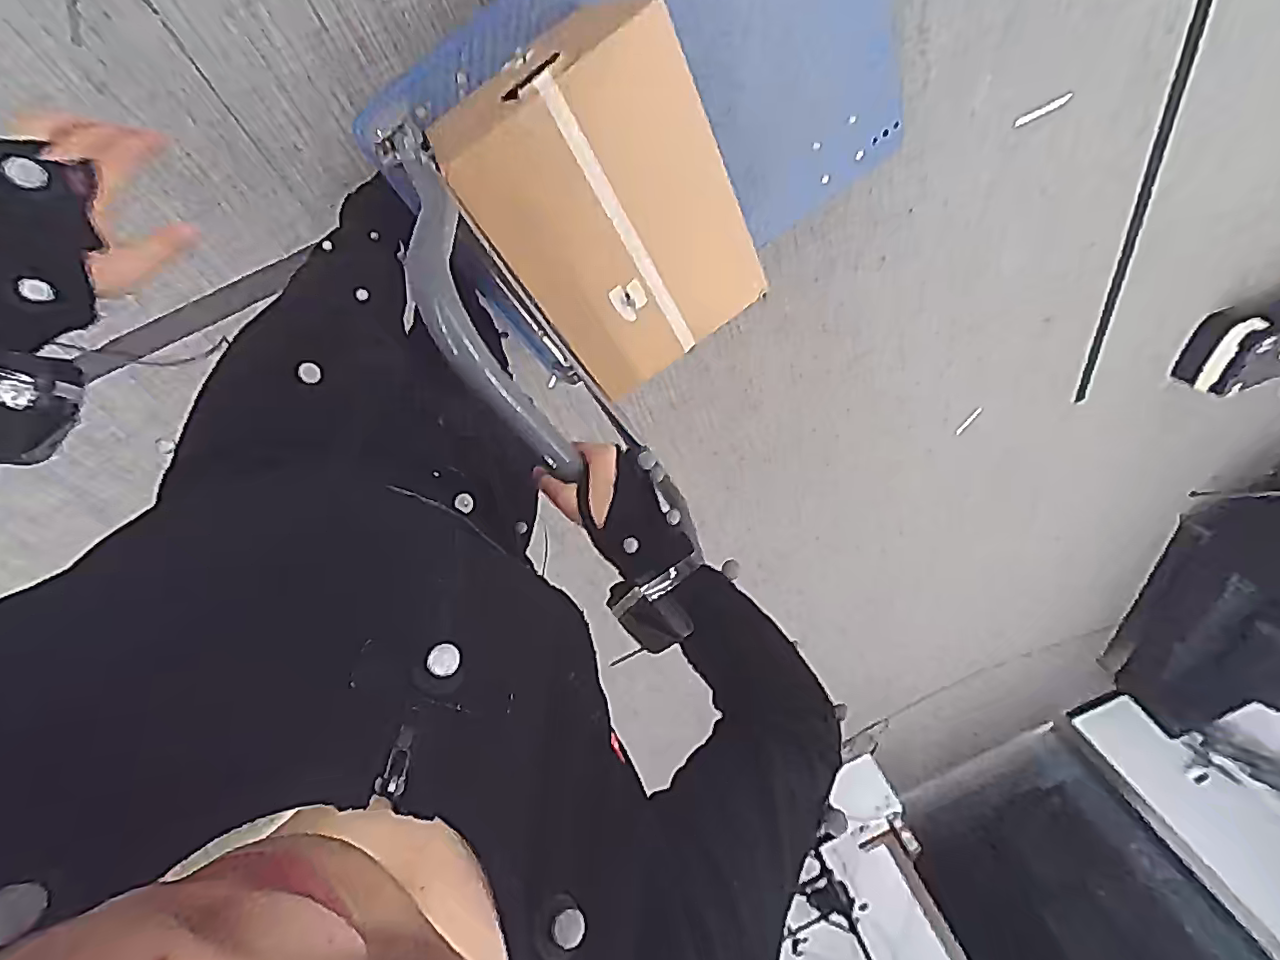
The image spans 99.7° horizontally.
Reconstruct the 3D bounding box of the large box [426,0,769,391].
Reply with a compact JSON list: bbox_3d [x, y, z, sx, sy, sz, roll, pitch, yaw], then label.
[{"bbox_3d":[-0.062,-0.428,0.841,0.320,0.320,0.408,-35,135,5],"label":"large box"}]
